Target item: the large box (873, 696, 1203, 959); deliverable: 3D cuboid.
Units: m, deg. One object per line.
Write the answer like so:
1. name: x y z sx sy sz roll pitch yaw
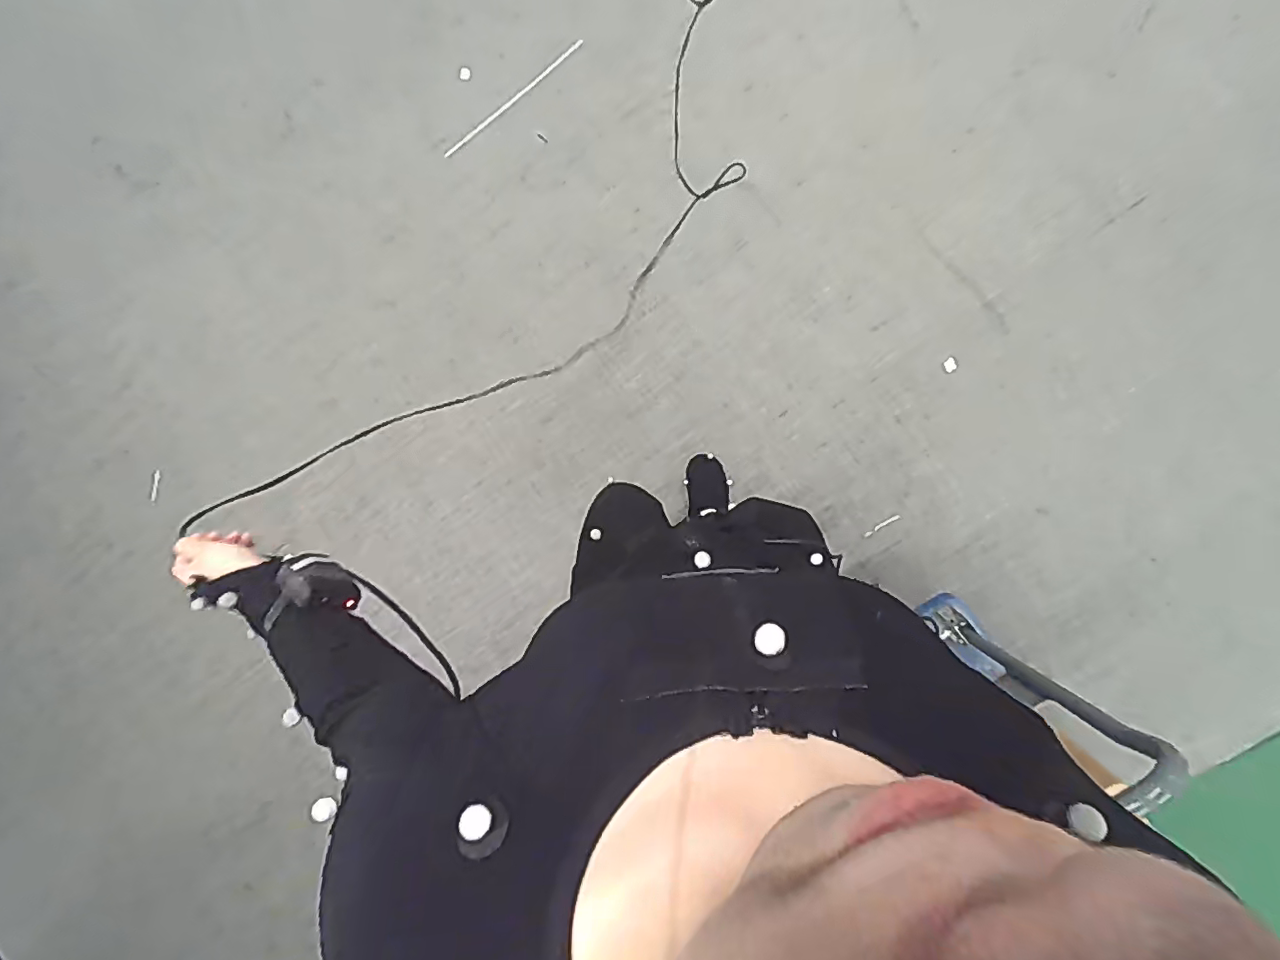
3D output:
1. large box: 0.792 0.742 1.147 0.408 0.320 0.320 -32 89 8
